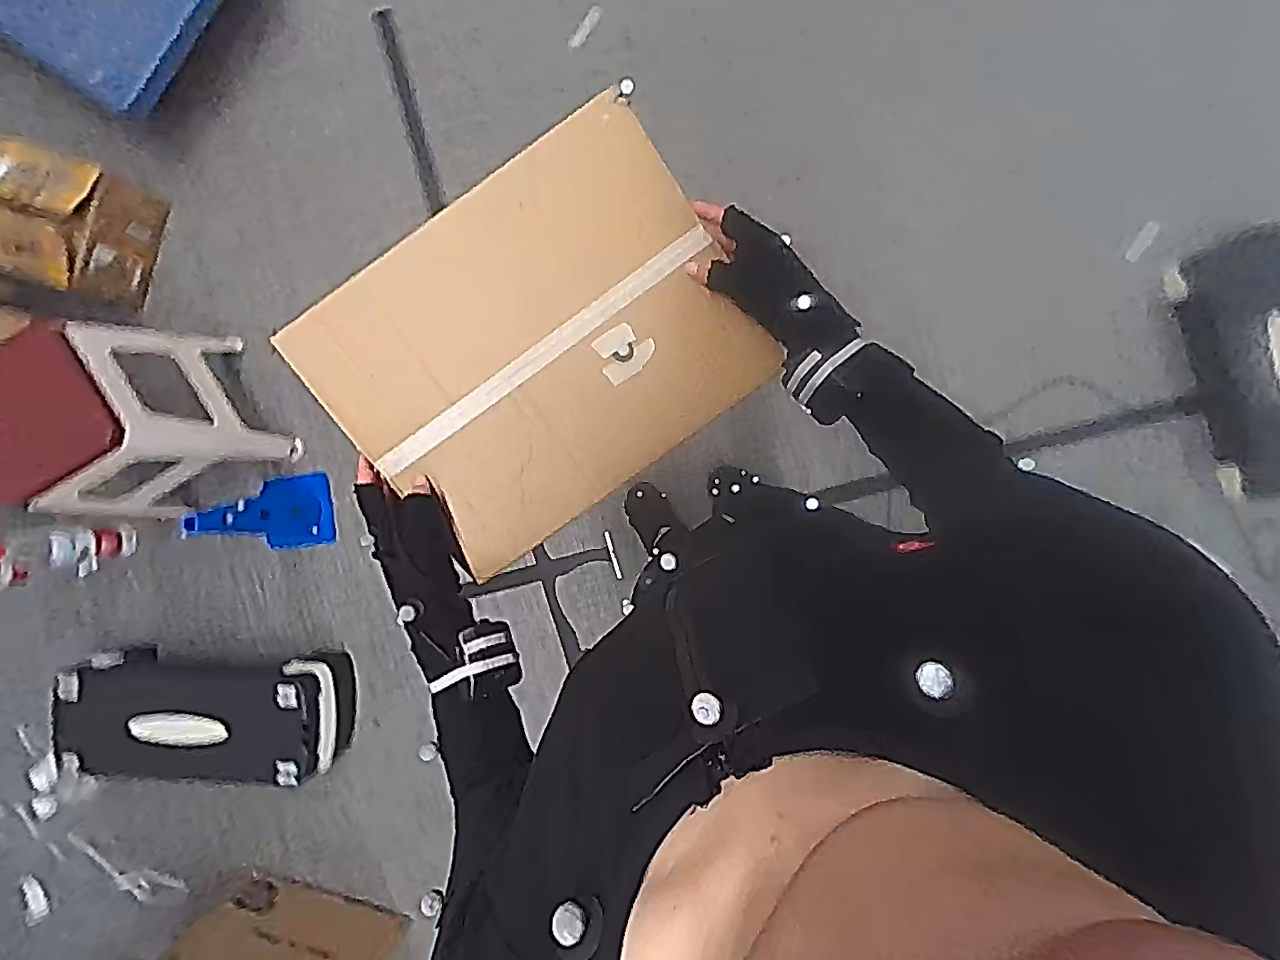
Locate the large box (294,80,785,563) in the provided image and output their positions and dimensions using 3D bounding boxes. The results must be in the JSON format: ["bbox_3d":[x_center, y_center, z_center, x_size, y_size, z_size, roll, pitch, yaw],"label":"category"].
[{"bbox_3d":[-0.105,-0.168,0.688,0.408,0.320,0.320,-35,103,1],"label":"large box"}]
